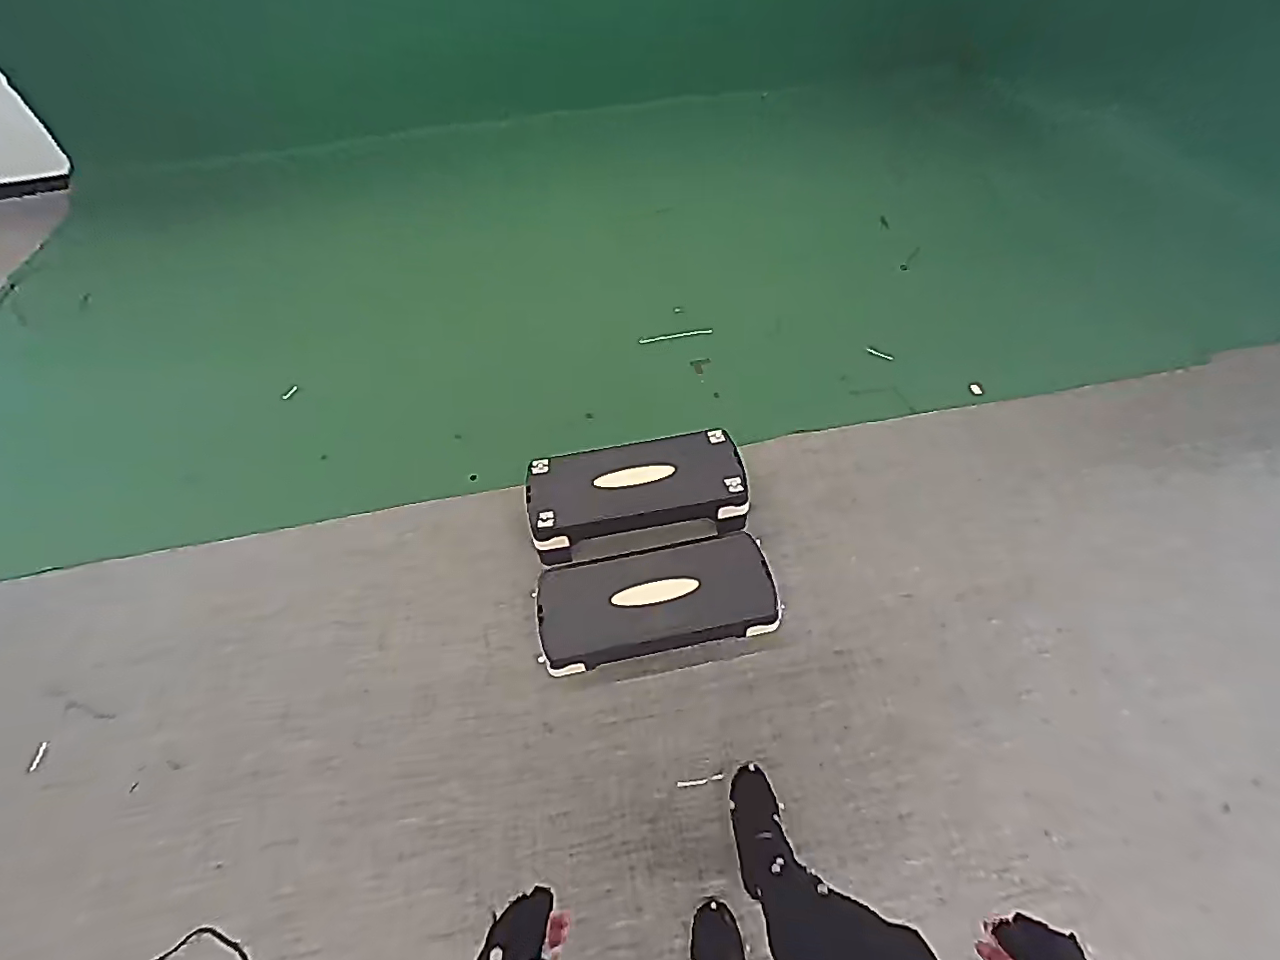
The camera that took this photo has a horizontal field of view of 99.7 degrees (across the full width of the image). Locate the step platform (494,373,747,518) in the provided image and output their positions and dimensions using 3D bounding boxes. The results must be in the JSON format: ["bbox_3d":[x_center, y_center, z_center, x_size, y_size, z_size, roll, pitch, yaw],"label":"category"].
[{"bbox_3d":[-0.052,-0.100,1.551,0.684,0.204,0.286,-10,54,-3],"label":"step platform"}]
